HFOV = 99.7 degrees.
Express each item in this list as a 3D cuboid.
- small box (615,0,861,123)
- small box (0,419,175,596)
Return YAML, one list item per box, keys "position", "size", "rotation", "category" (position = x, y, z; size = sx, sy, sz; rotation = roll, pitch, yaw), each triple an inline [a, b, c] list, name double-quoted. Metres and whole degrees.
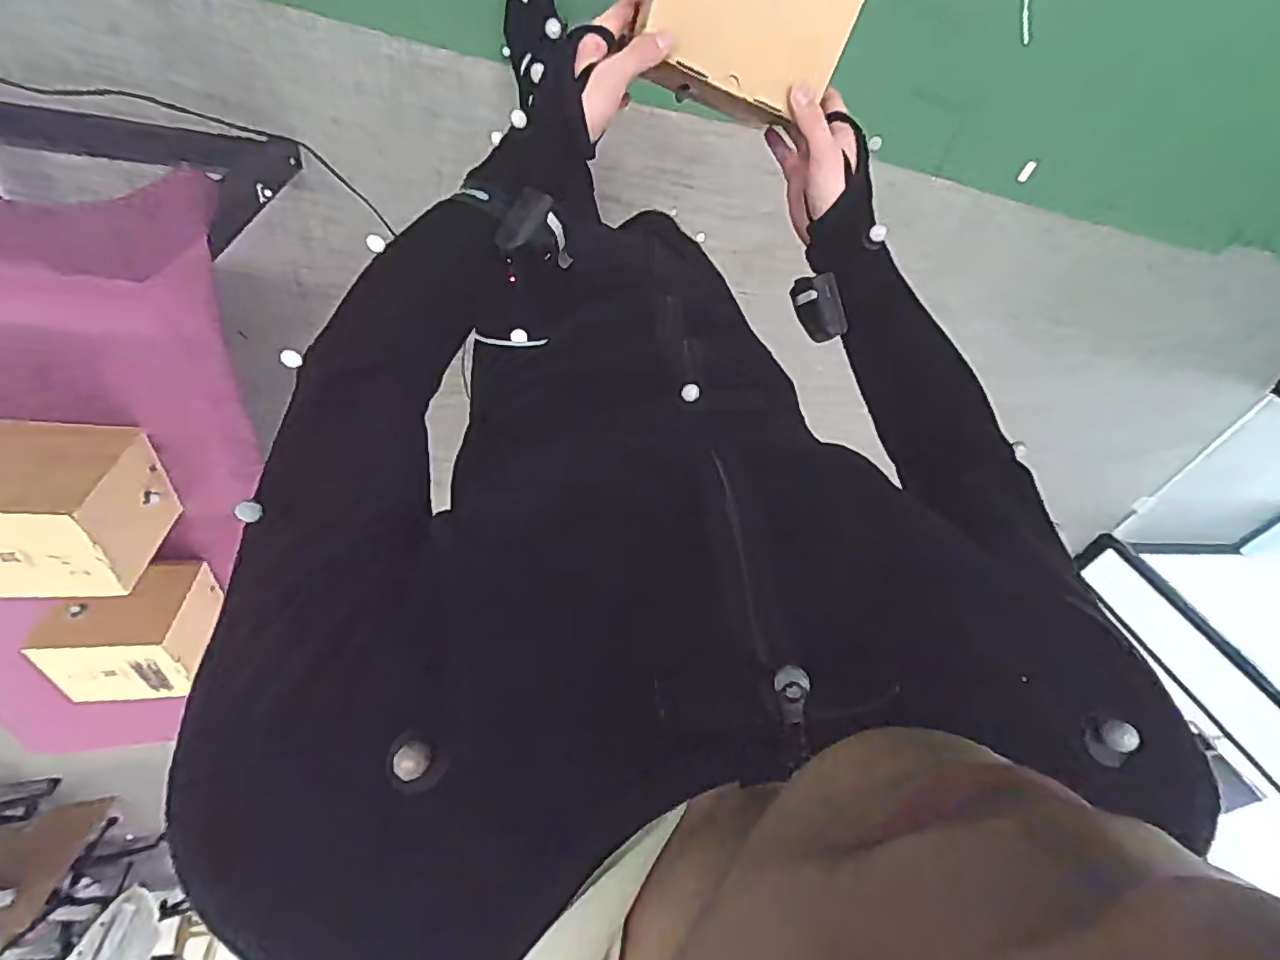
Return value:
- position: [0.087, -0.447, 0.475]
  size: [0.168, 0.176, 0.179]
  rotation: [10, 123, -20]
  category: "small box"
- position: [-0.778, 0.035, 0.716]
  size: [0.179, 0.176, 0.168]
  rotation: [3, 133, -16]
  category: "small box"
